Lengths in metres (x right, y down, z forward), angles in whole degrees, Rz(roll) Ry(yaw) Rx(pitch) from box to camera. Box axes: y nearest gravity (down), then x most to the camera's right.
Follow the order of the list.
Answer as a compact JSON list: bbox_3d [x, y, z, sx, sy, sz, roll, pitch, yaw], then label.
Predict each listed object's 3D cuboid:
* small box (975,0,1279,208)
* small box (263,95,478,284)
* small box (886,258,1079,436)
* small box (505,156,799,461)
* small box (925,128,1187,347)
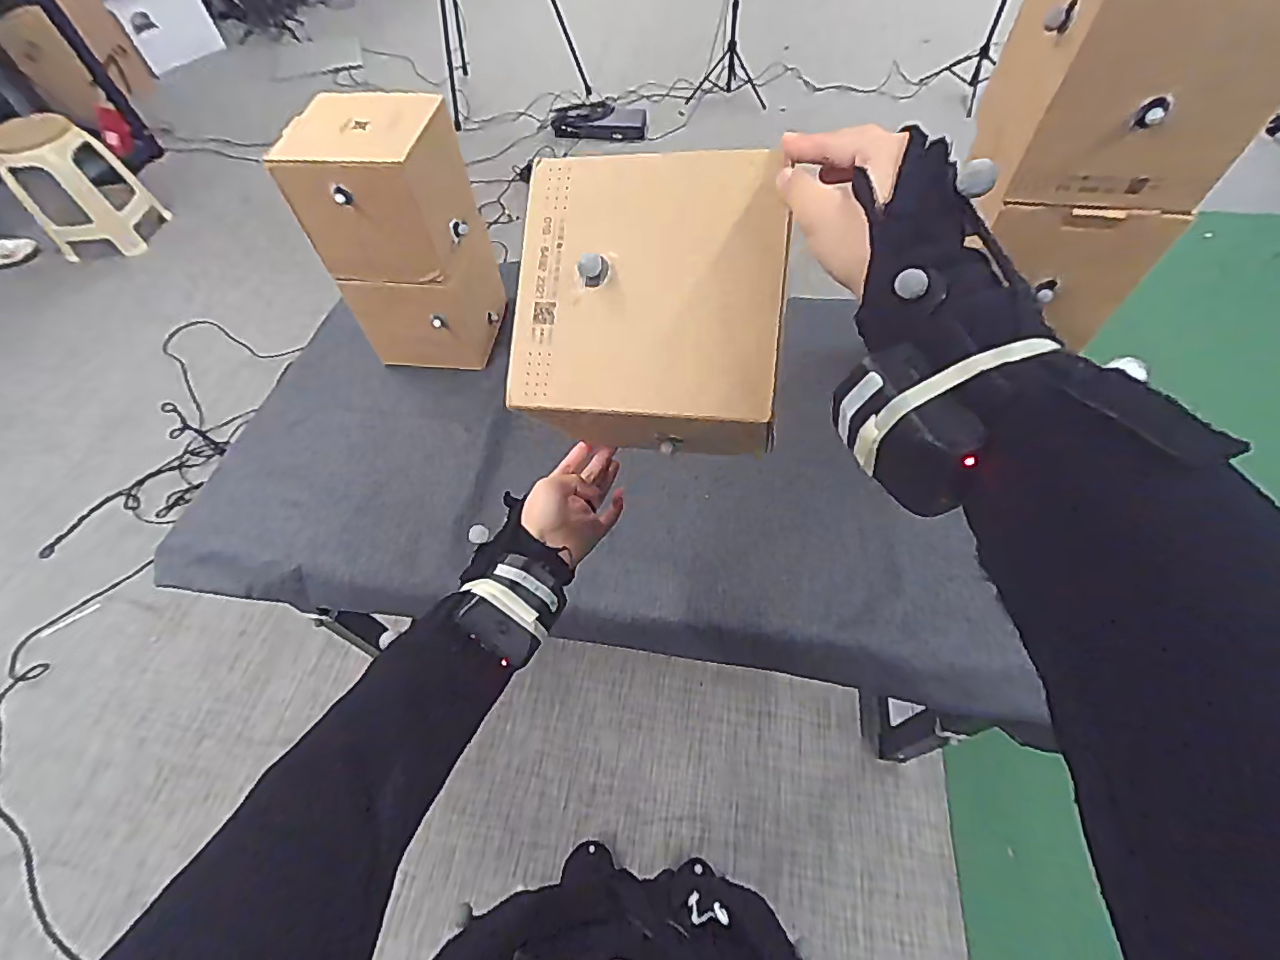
[{"bbox_3d":[0.429,-0.366,0.479,0.168,0.176,0.179,8,58,8],"label":"small box"},{"bbox_3d":[-0.342,-0.386,0.728,0.179,0.176,0.168,4,59,4],"label":"small box"},{"bbox_3d":[0.456,-0.188,0.755,0.168,0.176,0.179,9,58,9],"label":"small box"},{"bbox_3d":[0.020,-0.113,0.410,0.176,0.179,0.168,5,86,14],"label":"small box"},{"bbox_3d":[0.444,-0.275,0.616,0.168,0.176,0.179,9,59,9],"label":"small box"}]
